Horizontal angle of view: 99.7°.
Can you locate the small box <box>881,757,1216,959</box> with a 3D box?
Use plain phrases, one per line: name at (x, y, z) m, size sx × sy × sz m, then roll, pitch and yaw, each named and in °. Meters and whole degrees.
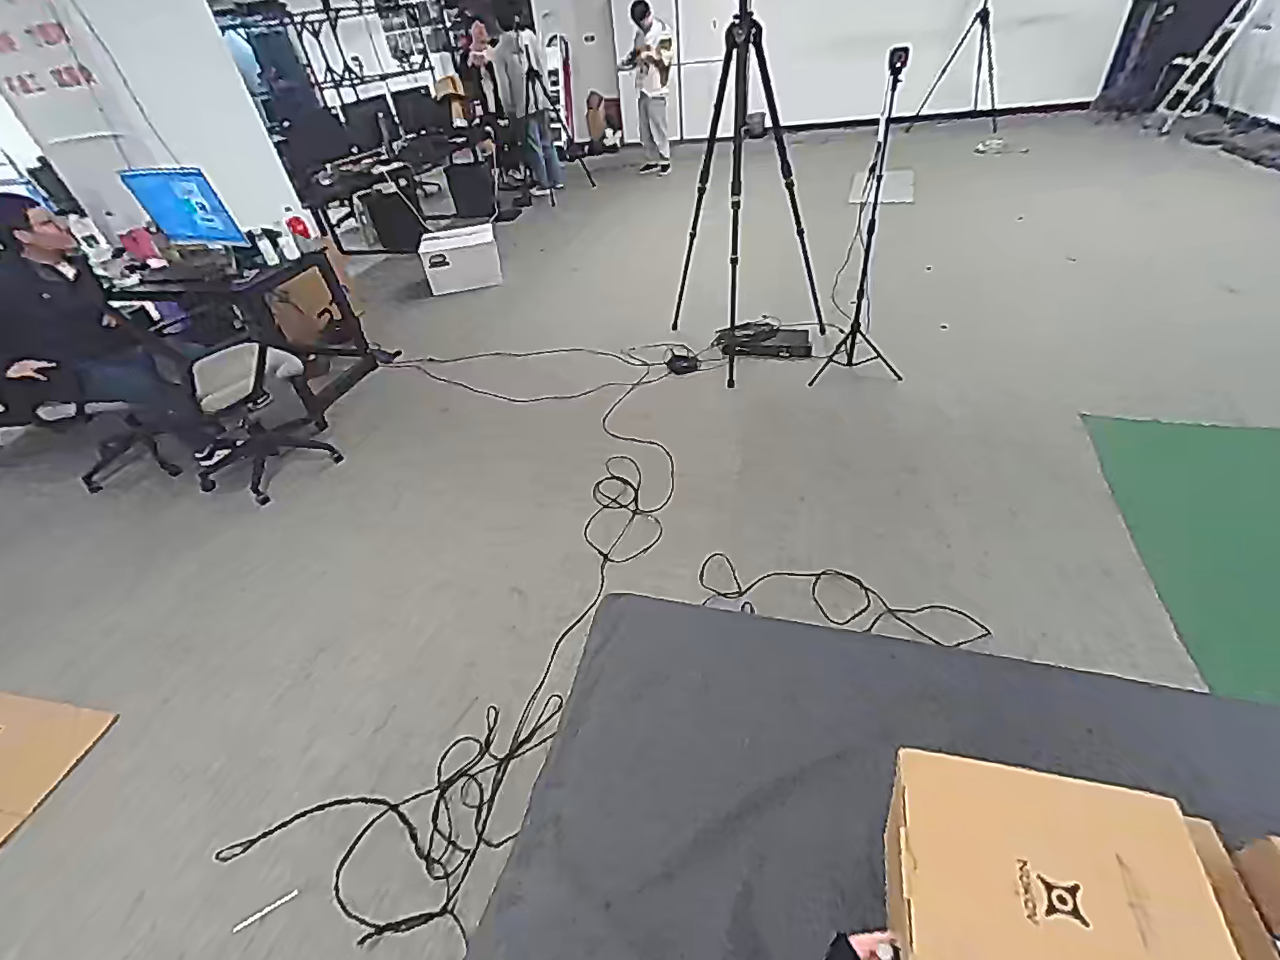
small box at (0.272, 0.339, 0.393) m, size 0.179 × 0.176 × 0.168 m, roll 2°, pitch 39°, yaw 22°
